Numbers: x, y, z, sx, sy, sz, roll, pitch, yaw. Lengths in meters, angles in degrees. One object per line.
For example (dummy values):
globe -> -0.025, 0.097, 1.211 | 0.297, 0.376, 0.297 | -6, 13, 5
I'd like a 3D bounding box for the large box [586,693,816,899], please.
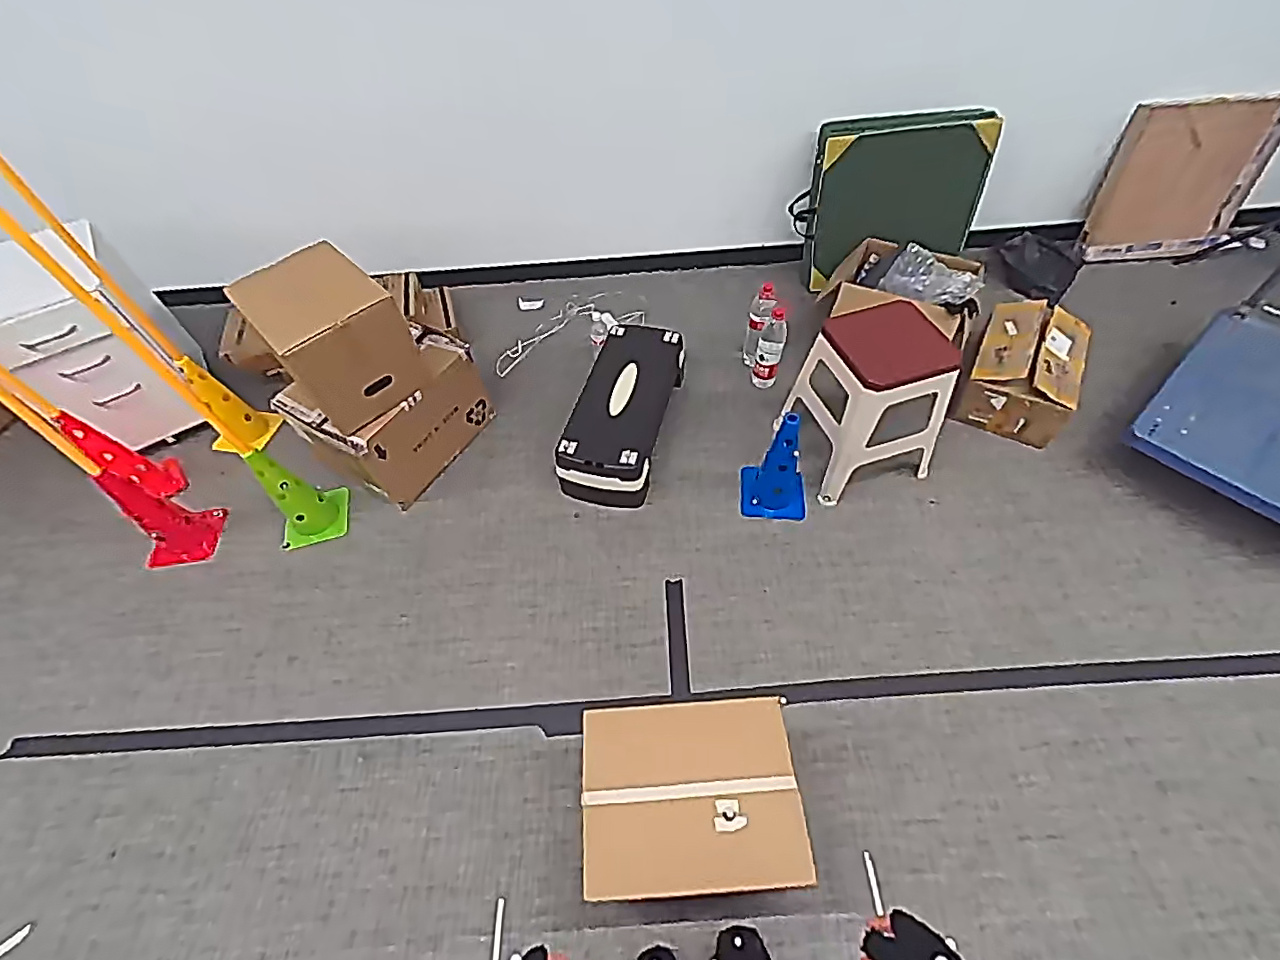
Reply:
large box -> 0.102, 0.667, 1.139 | 0.408, 0.320, 0.320 | -4, 54, -1
